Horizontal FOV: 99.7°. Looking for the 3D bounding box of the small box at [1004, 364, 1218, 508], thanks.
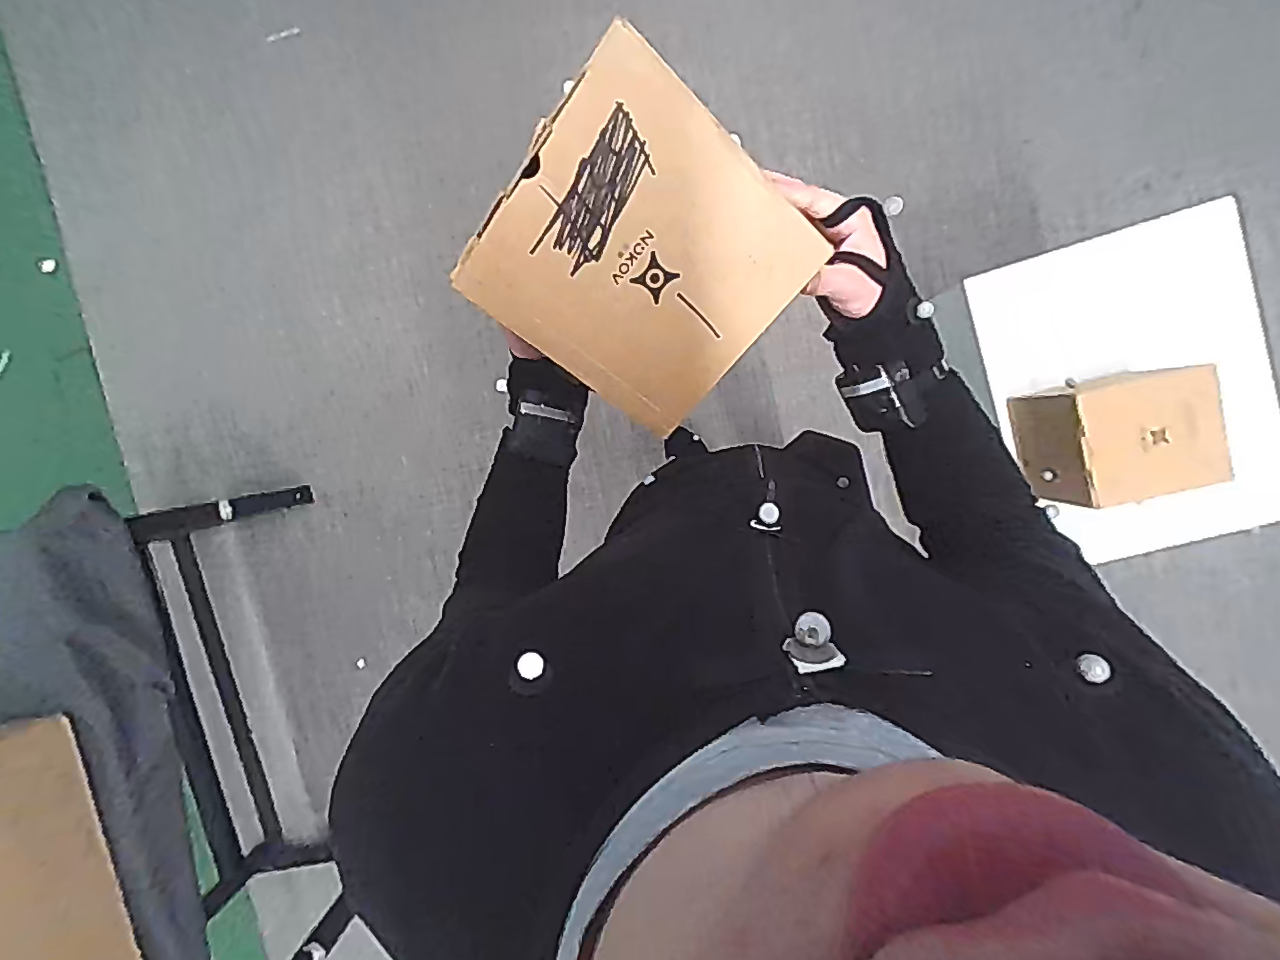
[{"bbox_3d":[0.678,-0.064,0.805,0.179,0.176,0.168,-13,95,5],"label":"small box"}]
